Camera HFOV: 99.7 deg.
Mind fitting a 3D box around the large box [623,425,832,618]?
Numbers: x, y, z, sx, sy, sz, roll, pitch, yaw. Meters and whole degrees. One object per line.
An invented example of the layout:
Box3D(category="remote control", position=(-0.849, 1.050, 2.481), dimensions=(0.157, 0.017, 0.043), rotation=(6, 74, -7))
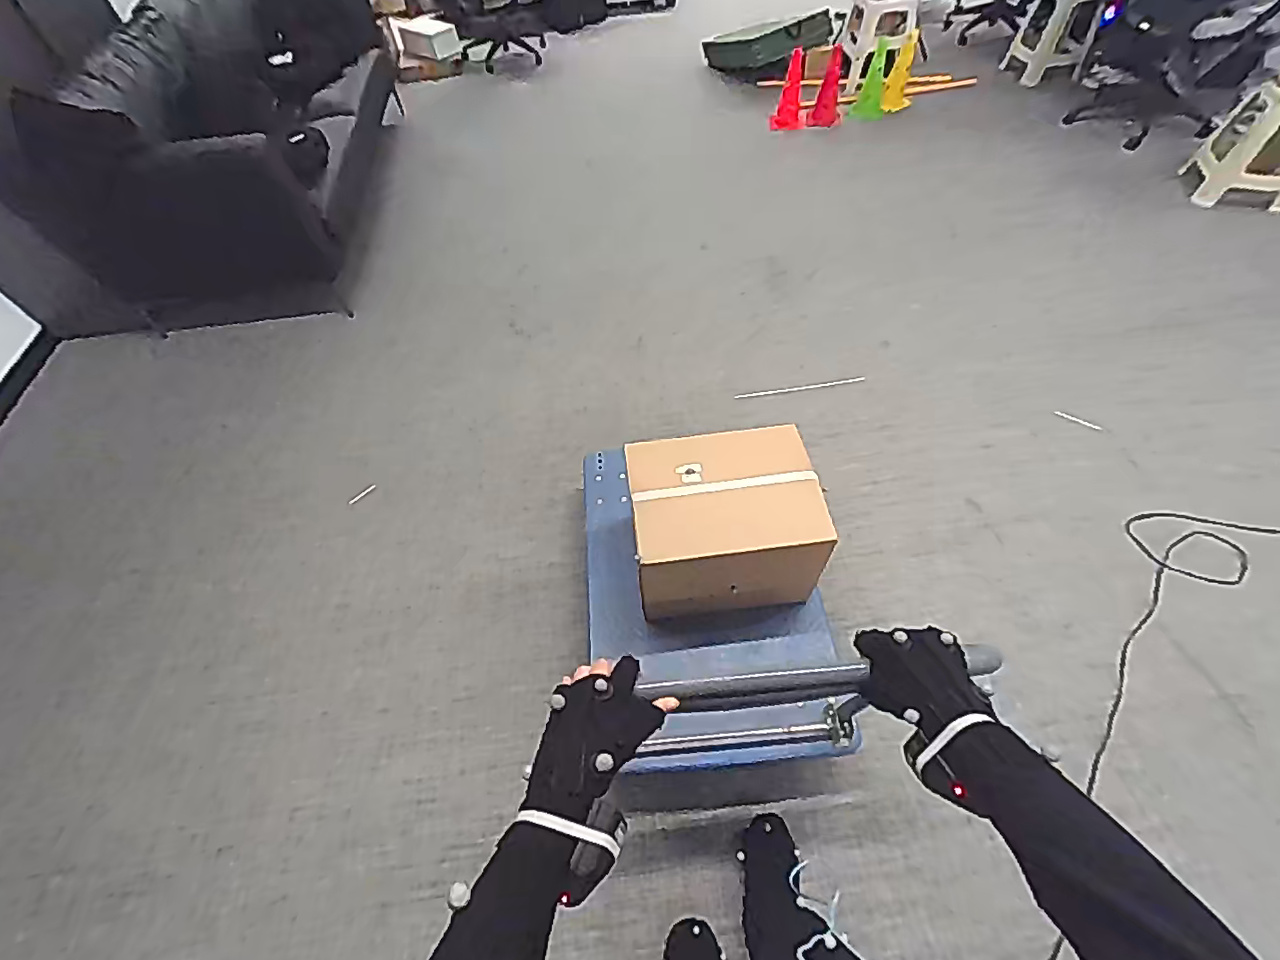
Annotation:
Box3D(category="large box", position=(0.189, 0.109, 1.302), dimensions=(0.408, 0.320, 0.320), rotation=(-9, 54, -1))
